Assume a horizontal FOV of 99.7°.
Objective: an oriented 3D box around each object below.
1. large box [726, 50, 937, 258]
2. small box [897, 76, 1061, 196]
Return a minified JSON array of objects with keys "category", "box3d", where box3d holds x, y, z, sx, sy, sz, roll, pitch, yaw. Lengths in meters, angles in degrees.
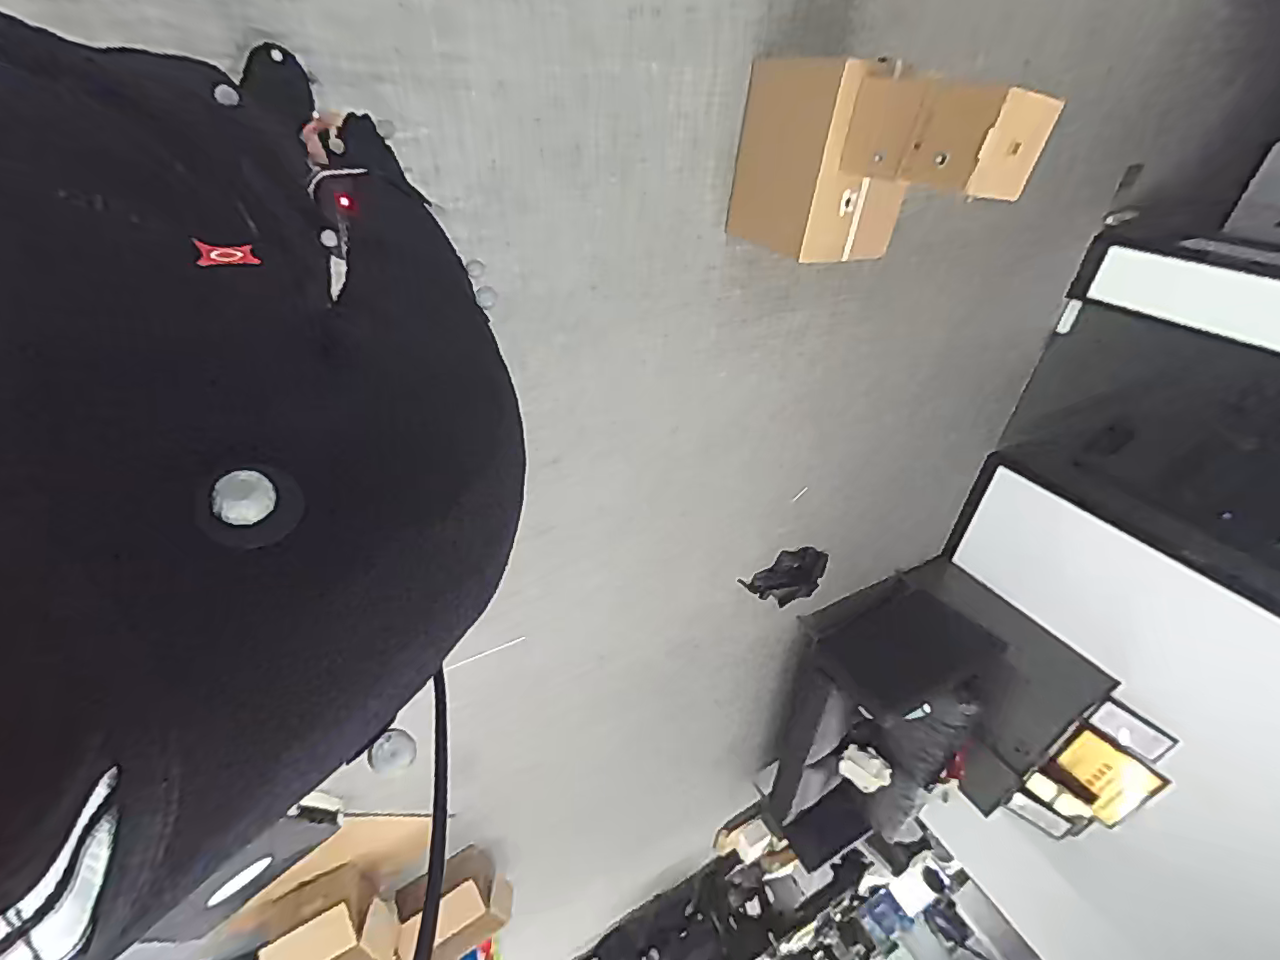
[{"category":"large box","box3d":[0.455,-0.822,1.372,0.320,0.320,0.408,-14,131,-25]},{"category":"small box","box3d":[0.636,-0.658,1.036,0.179,0.176,0.168,-12,132,-28]}]
